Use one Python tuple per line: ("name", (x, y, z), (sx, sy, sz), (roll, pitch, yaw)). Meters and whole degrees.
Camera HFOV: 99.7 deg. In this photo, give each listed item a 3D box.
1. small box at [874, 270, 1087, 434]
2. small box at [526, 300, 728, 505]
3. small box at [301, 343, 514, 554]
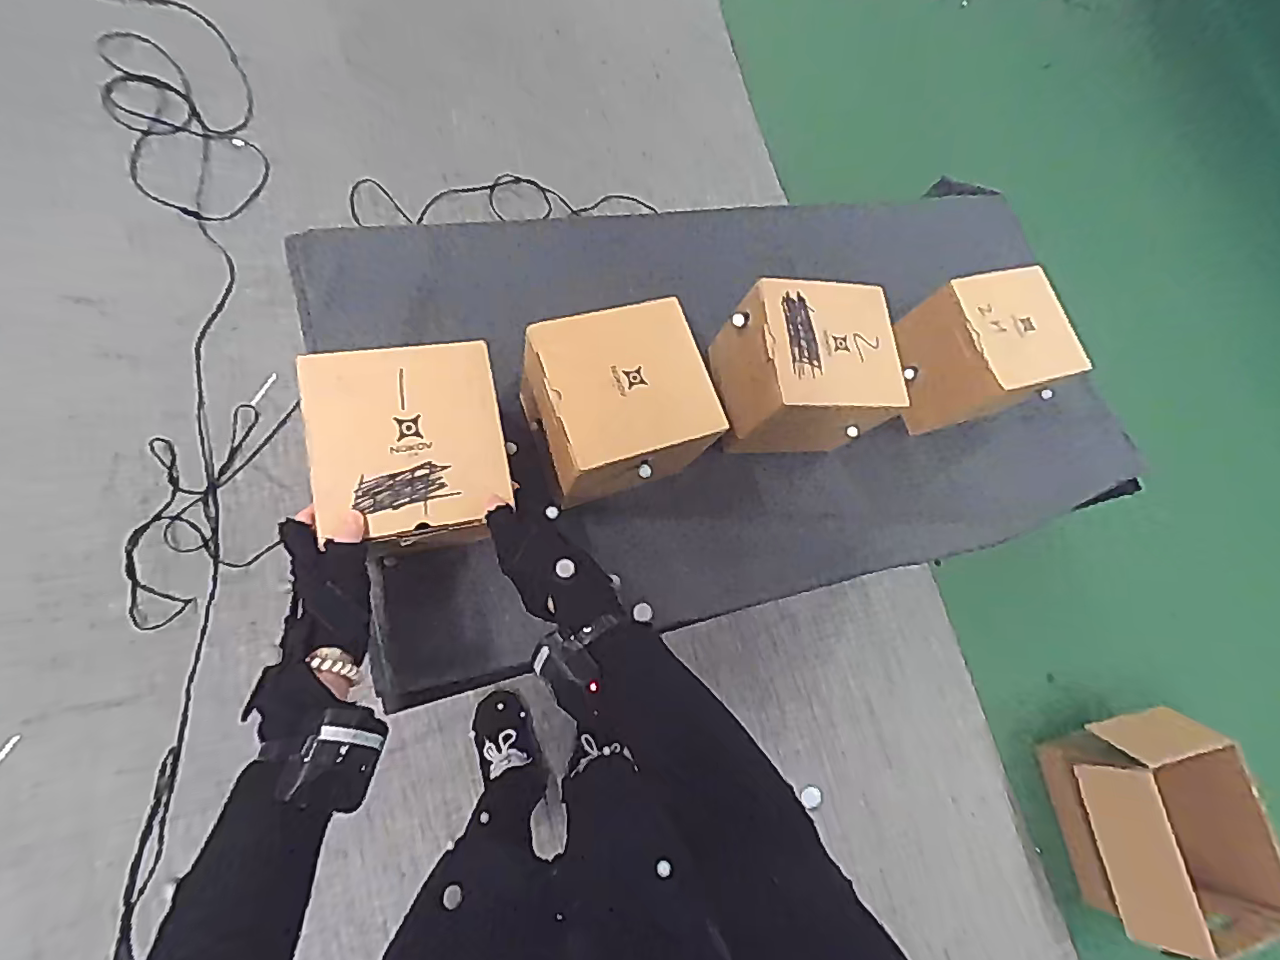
("small box", (0.491, -0.184, 0.803), (0.179, 0.176, 0.168), (-14, 78, -18))
("small box", (-0.028, -0.084, 0.643), (0.179, 0.176, 0.168), (-18, 80, -18))
("small box", (-0.226, -0.021, 0.562), (0.168, 0.176, 0.179), (-9, 81, -17))
